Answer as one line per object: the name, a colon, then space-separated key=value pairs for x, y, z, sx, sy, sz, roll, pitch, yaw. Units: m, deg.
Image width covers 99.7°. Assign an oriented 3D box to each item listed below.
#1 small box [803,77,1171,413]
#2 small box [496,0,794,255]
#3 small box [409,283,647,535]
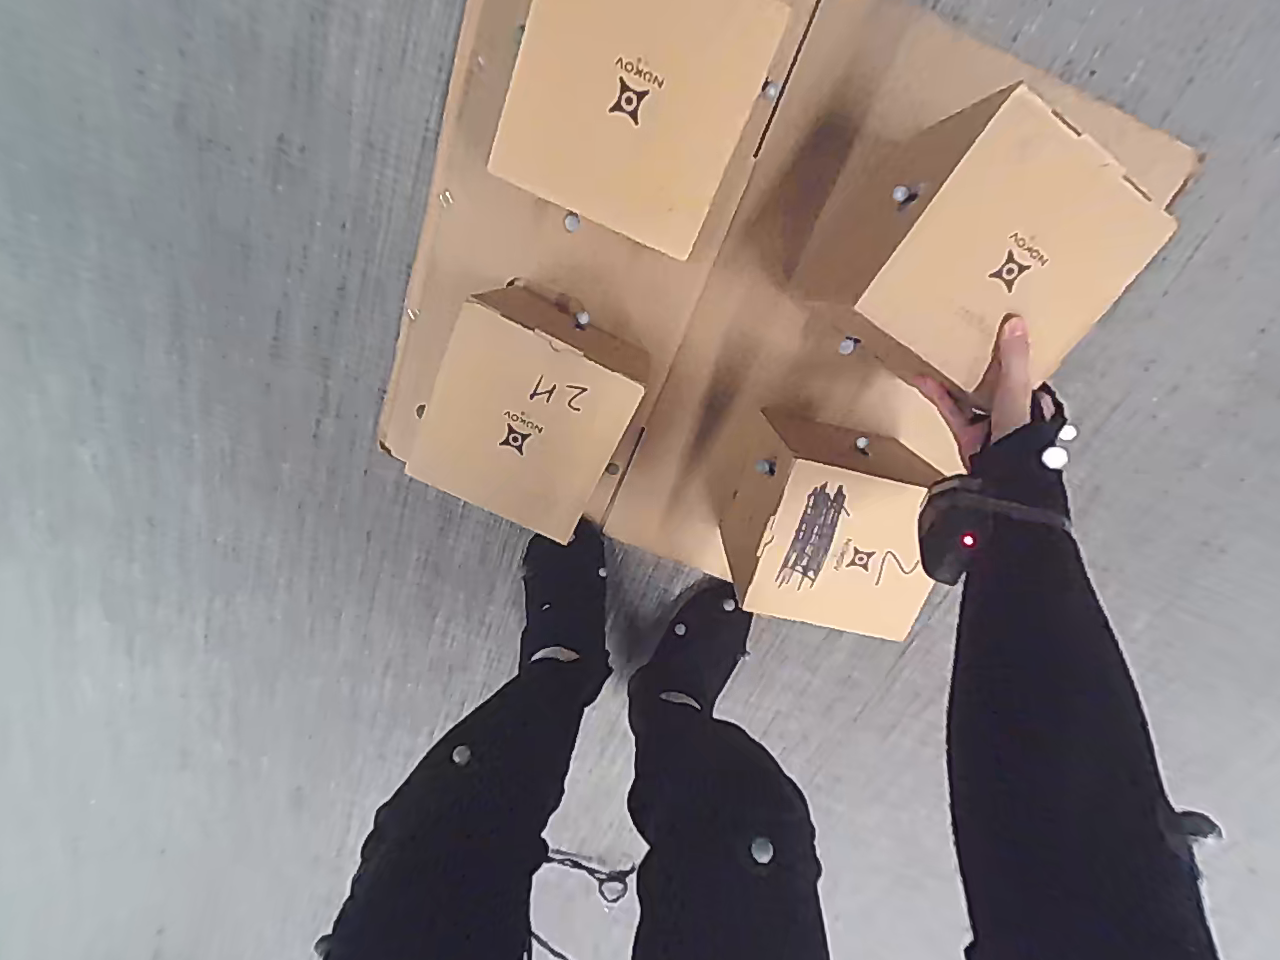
small box: x=0.274 y=-0.189 z=0.476 sx=0.168 sy=0.176 sz=0.179 roll=33 pitch=105 yaw=-11
small box: x=0.001 y=-0.308 z=0.457 sx=0.168 sy=0.176 sz=0.179 roll=22 pitch=110 yaw=-7
small box: x=-0.099 y=-0.081 z=0.551 sx=0.168 sy=0.176 sz=0.179 roll=26 pitch=110 yaw=-9
